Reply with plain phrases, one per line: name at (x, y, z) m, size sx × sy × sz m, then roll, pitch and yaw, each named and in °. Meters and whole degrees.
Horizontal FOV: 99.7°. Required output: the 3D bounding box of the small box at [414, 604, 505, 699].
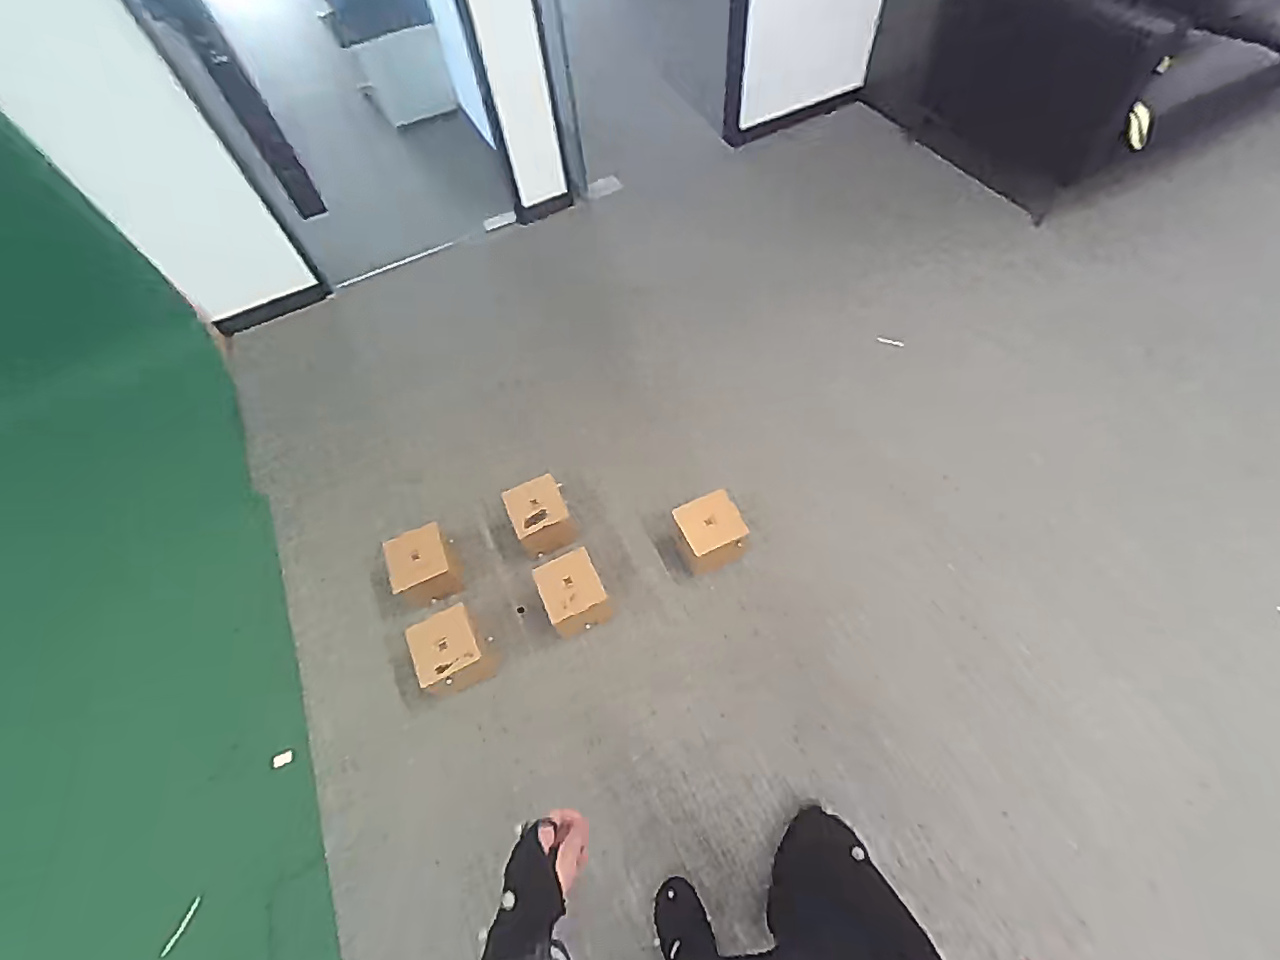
small box at (-0.498, 0.481, 1.506) m, size 0.168 × 0.176 × 0.179 m, roll -26°, pitch 59°, yaw -9°

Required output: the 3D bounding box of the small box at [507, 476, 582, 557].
small box at (-0.295, 0.124, 1.700) m, size 0.168 × 0.176 × 0.179 m, roll -24°, pitch 59°, yaw -9°

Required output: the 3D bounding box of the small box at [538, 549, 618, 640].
small box at (-0.177, 0.334, 1.562) m, size 0.168 × 0.176 × 0.179 m, roll -25°, pitch 60°, yaw -9°

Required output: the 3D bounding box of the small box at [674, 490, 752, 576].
small box at (0.218, 0.165, 1.627) m, size 0.179 × 0.176 × 0.168 m, roll -23°, pitch 60°, yaw -9°
